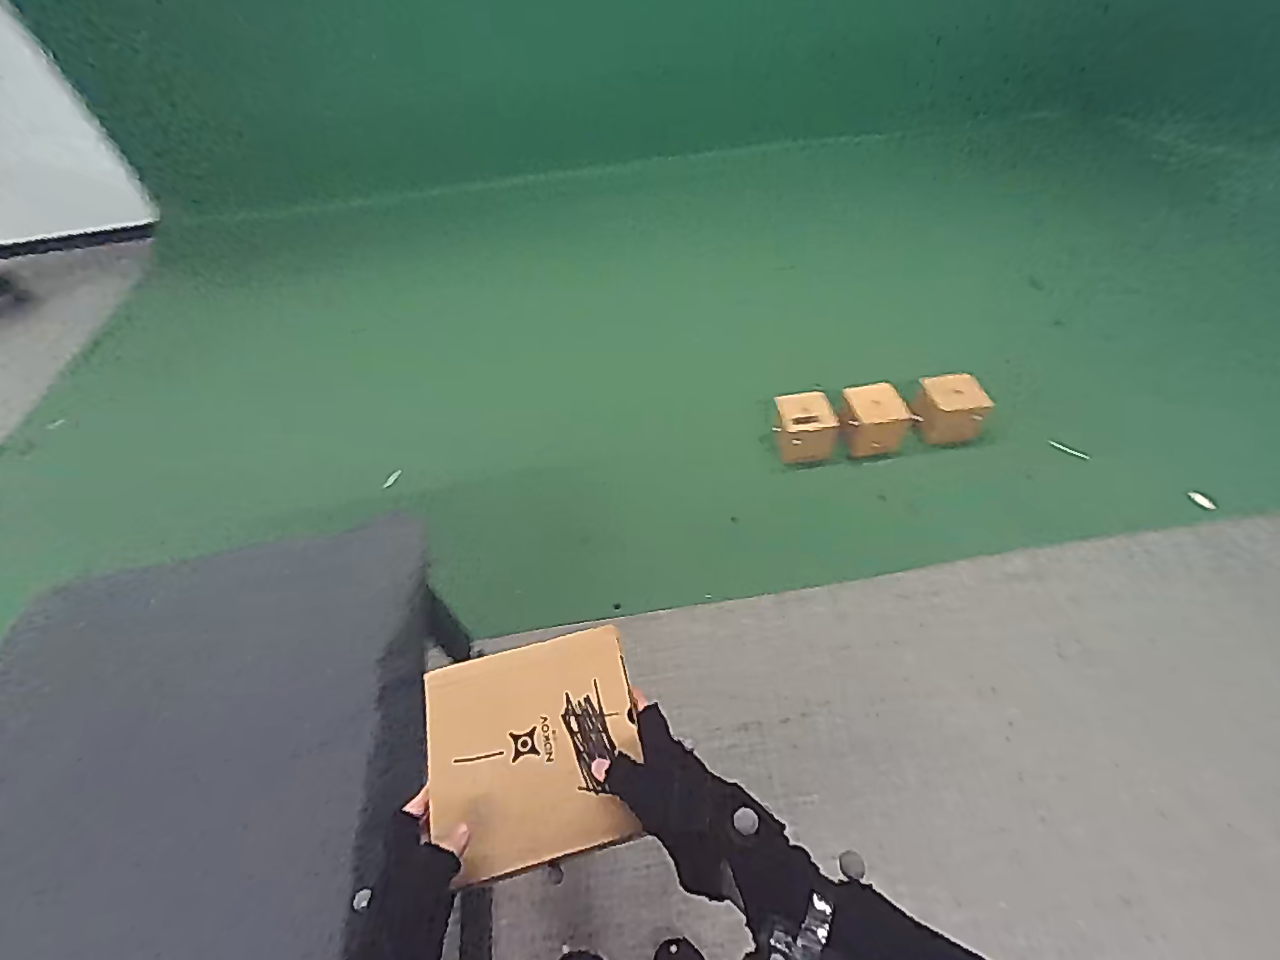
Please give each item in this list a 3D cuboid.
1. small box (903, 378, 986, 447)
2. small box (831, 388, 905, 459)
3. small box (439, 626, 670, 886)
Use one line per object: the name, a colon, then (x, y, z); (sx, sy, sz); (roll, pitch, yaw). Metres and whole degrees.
small box: (1.068, -0.236, 1.915); (0.179, 0.176, 0.168); (-7, 51, -1)
small box: (0.795, -0.199, 1.910); (0.168, 0.176, 0.179); (-9, 52, -3)
small box: (-0.077, 0.260, 0.513); (0.179, 0.176, 0.168); (-11, 56, -6)
